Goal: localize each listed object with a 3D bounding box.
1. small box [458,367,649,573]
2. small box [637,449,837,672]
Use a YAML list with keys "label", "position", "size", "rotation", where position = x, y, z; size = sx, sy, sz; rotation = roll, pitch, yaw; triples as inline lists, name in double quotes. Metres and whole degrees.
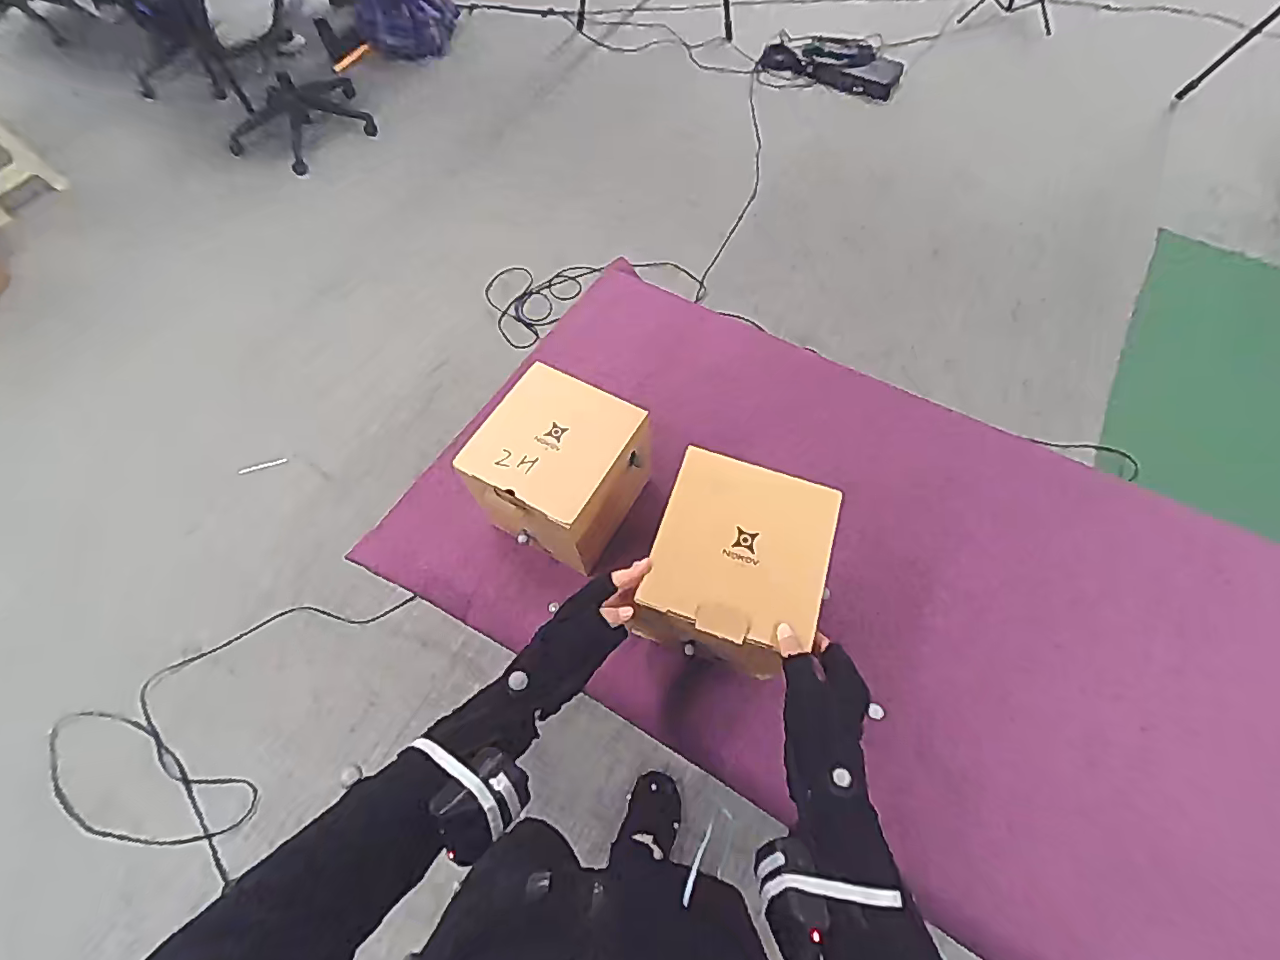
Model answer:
- label: "small box"
  position: [-0.101, -0.008, 0.710]
  size: [0.168, 0.176, 0.179]
  rotation: [26, 66, 15]
- label: "small box"
  position: [0.097, 0.098, 0.604]
  size: [0.168, 0.176, 0.179]
  rotation: [18, 66, 7]
